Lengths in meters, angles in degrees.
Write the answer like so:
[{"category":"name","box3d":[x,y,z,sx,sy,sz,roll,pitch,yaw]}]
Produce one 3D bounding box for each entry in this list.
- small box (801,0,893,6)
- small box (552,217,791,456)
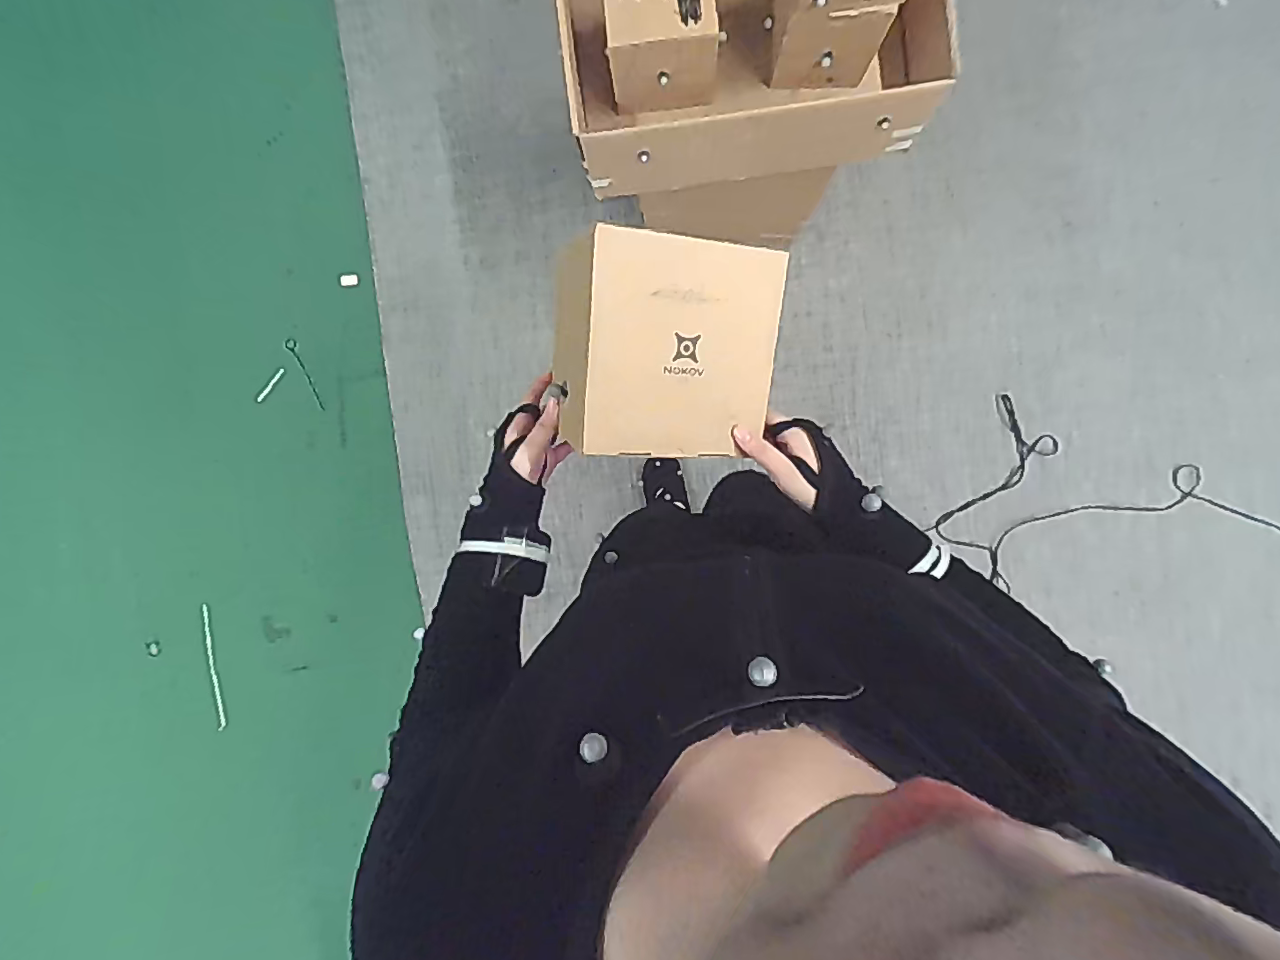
[{"category":"small box","box3d":[0.303,-0.794,0.734,0.168,0.176,0.179,-4,91,3]},{"category":"small box","box3d":[0.014,-0.129,0.514,0.168,0.176,0.179,1,106,-20]}]
